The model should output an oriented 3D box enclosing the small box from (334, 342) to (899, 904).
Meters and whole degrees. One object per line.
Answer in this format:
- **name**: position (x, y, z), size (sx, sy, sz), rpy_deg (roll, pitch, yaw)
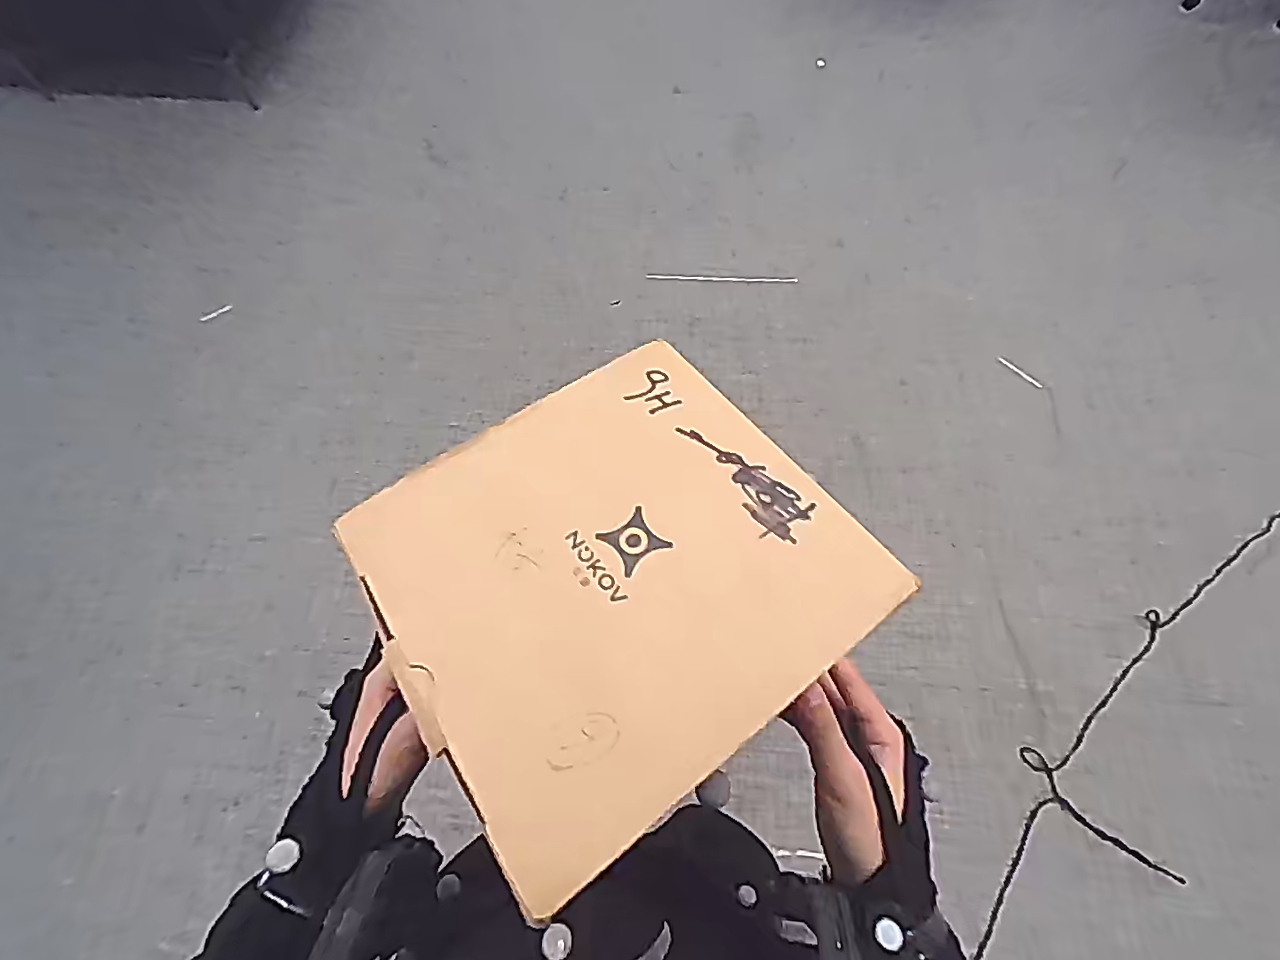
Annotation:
- **small box**: position (-0.011, 0.070, 0.285), size (0.179, 0.176, 0.168), rpy_deg (-33, 64, -16)
